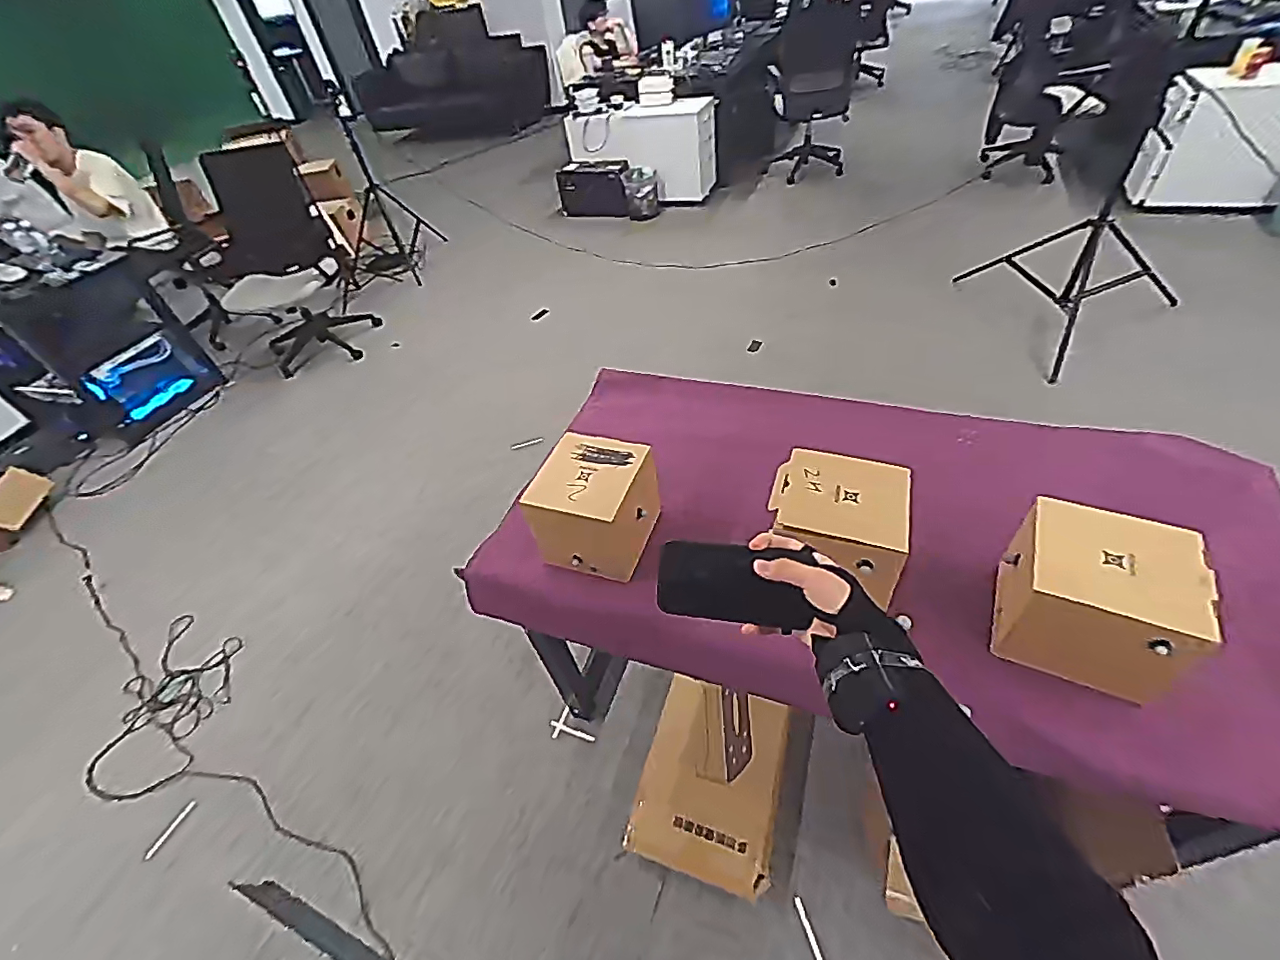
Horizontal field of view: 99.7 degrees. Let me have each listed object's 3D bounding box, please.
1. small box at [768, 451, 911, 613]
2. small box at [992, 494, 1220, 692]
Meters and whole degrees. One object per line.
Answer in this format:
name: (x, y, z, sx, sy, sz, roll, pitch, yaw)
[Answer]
small box: (0.301, 0.082, 0.830, 0.179, 0.176, 0.168, 9, 46, 19)
small box: (0.589, 0.149, 0.712, 0.179, 0.176, 0.168, 15, 51, 23)
